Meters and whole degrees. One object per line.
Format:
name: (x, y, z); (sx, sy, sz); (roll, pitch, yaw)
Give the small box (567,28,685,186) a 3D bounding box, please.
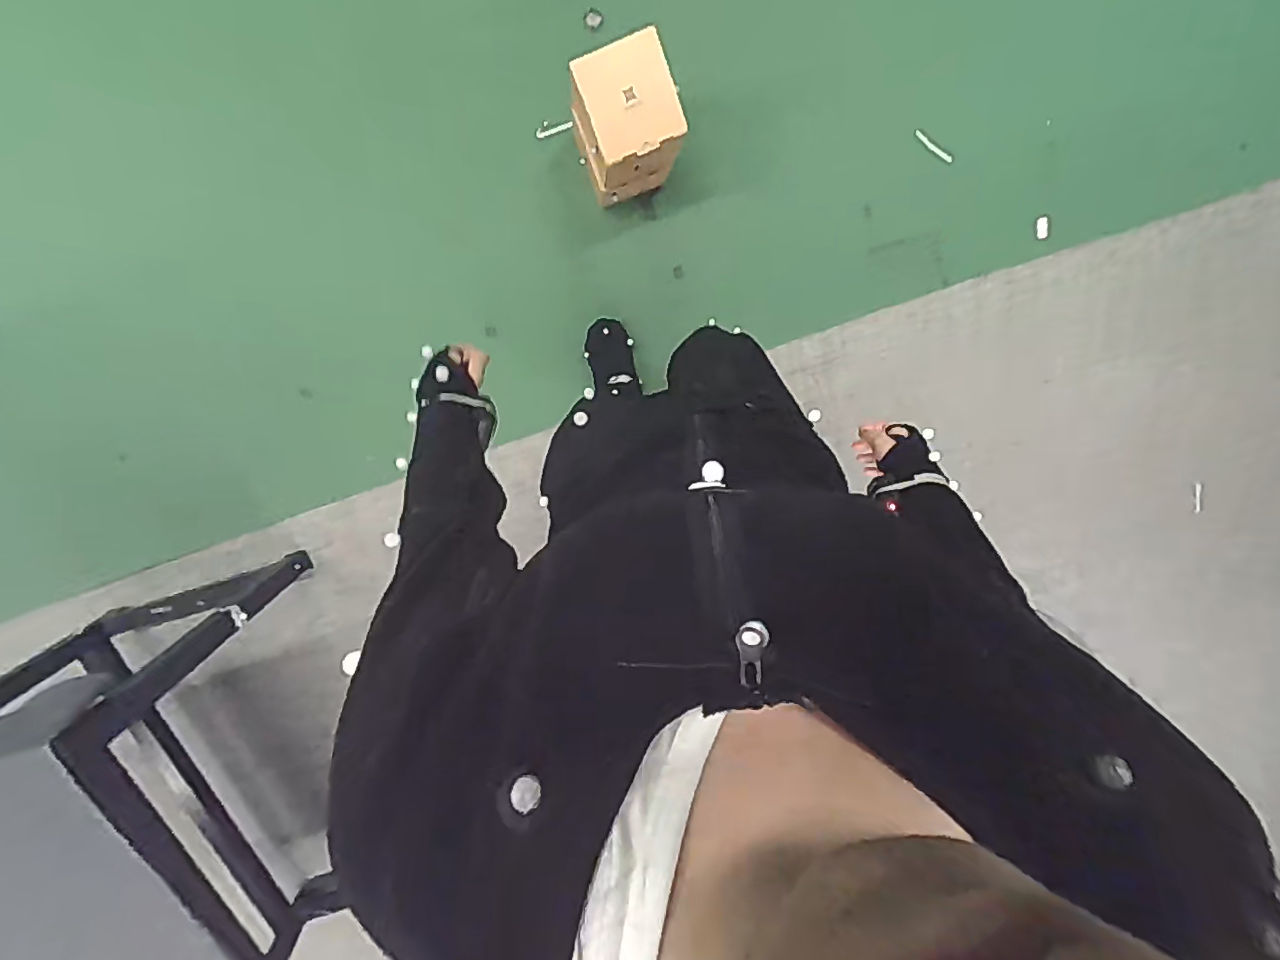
small box: (-0.032, -0.702, 1.041); (0.168, 0.176, 0.179); (-23, 107, 1)
